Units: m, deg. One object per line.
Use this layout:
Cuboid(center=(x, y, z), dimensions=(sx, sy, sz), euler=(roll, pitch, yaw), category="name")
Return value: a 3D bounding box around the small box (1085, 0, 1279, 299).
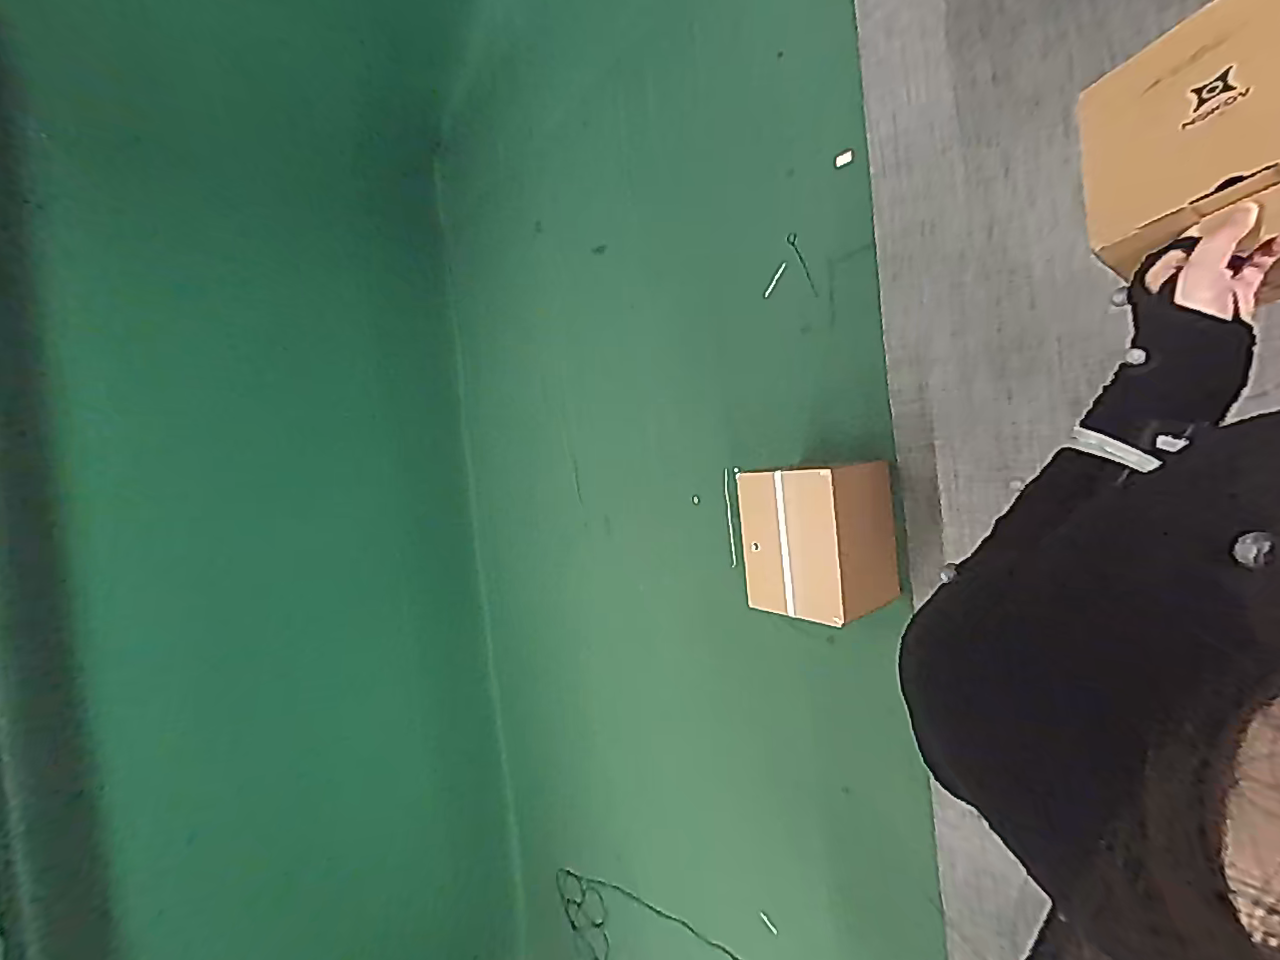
Cuboid(center=(0.496, -0.268, 0.427), dimensions=(0.168, 0.176, 0.179), euler=(-21, 55, 62), category="small box")
